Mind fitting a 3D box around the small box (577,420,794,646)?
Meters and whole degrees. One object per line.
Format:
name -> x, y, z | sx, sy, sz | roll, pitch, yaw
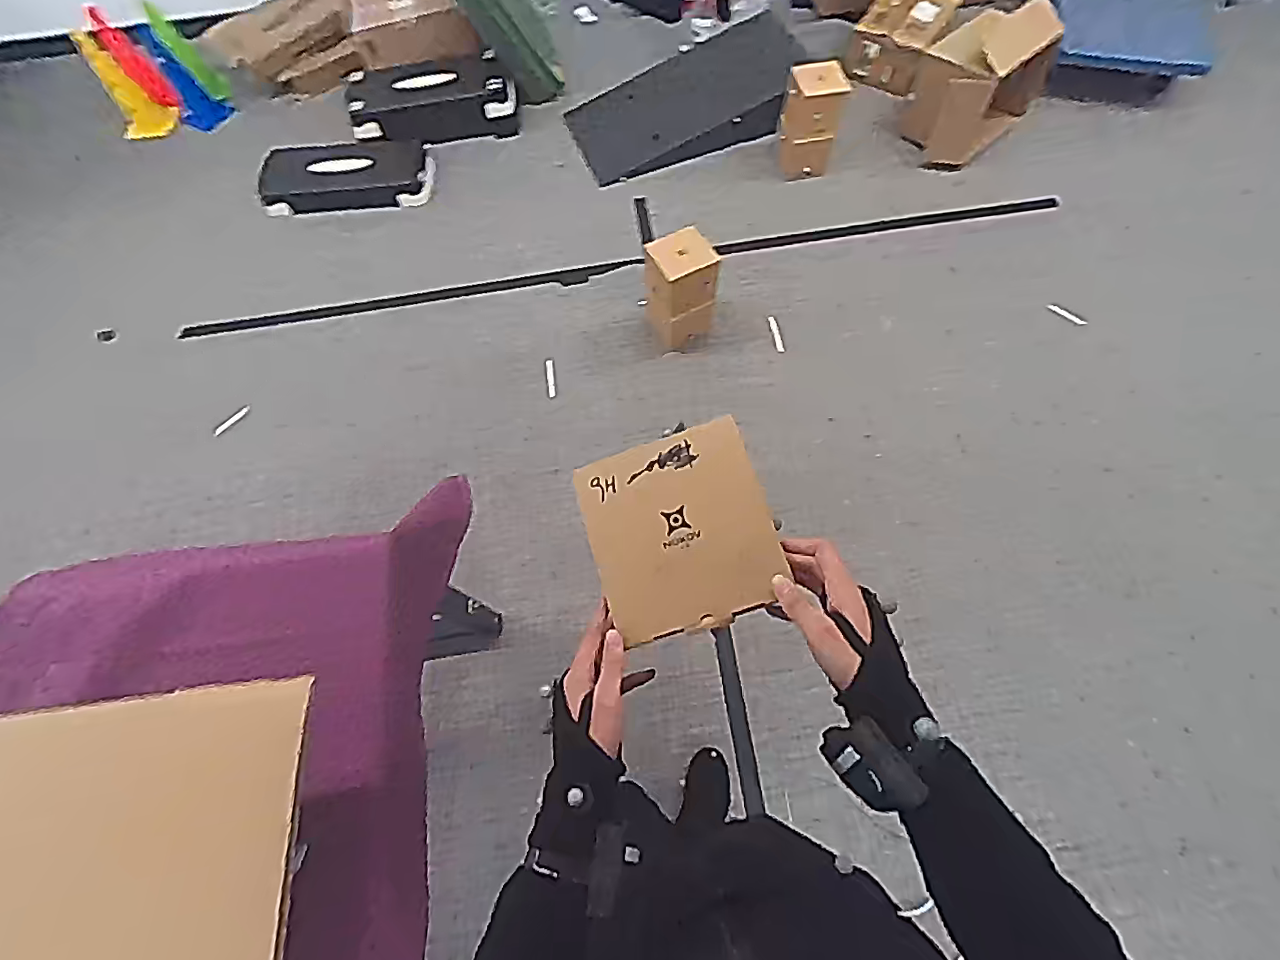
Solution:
small box -> 0.053, 0.060, 0.576 | 0.168, 0.176, 0.179 | -18, 76, 7
